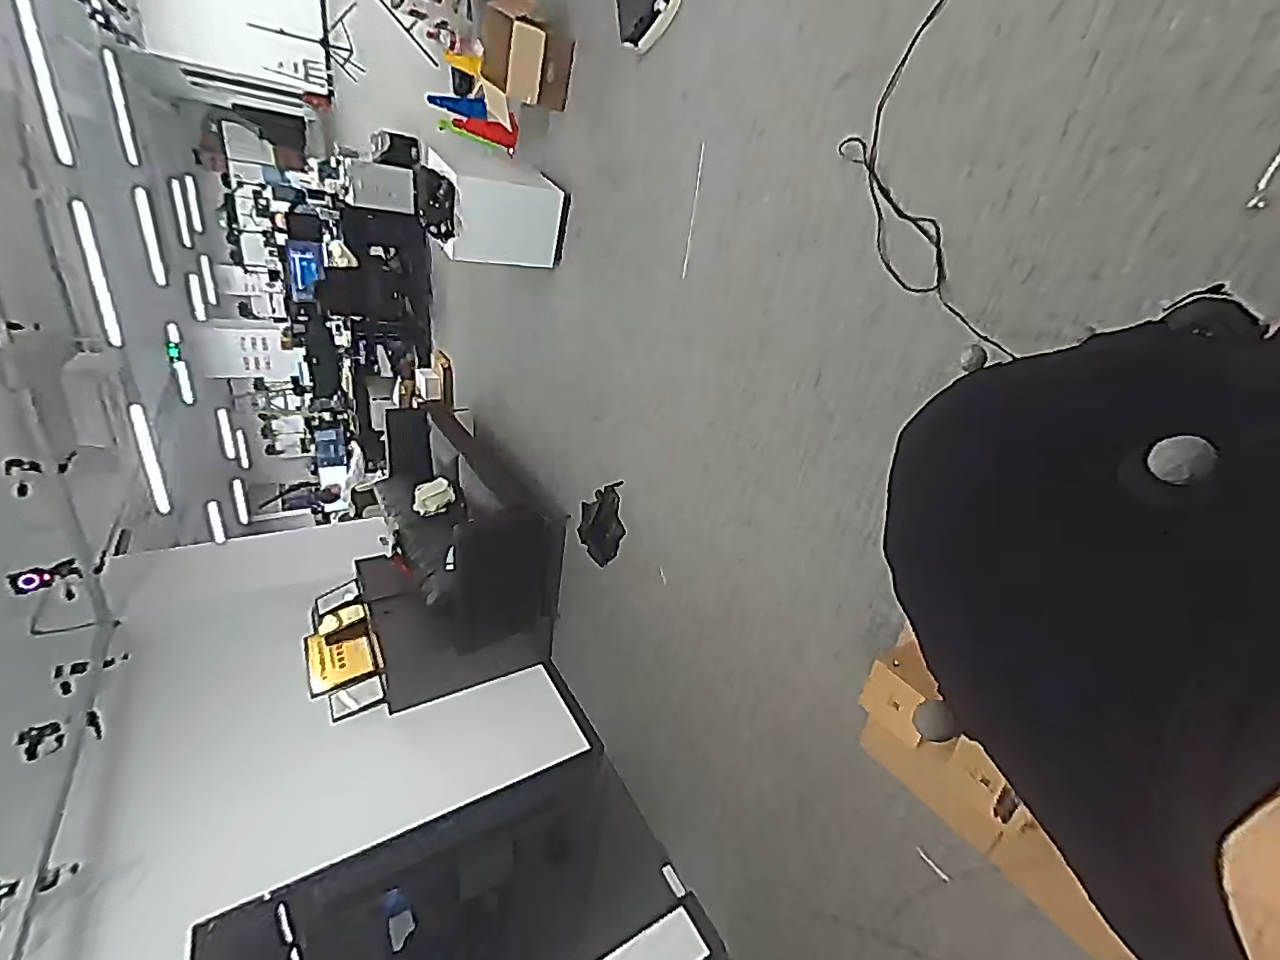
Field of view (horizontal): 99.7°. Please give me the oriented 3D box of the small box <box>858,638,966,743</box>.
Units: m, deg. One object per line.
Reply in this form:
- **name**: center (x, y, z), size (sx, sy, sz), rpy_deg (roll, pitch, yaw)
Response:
- **small box**: center (0.729, 0.552, 1.447), size (0.179, 0.176, 0.168), rpy_deg (39, 129, 48)
